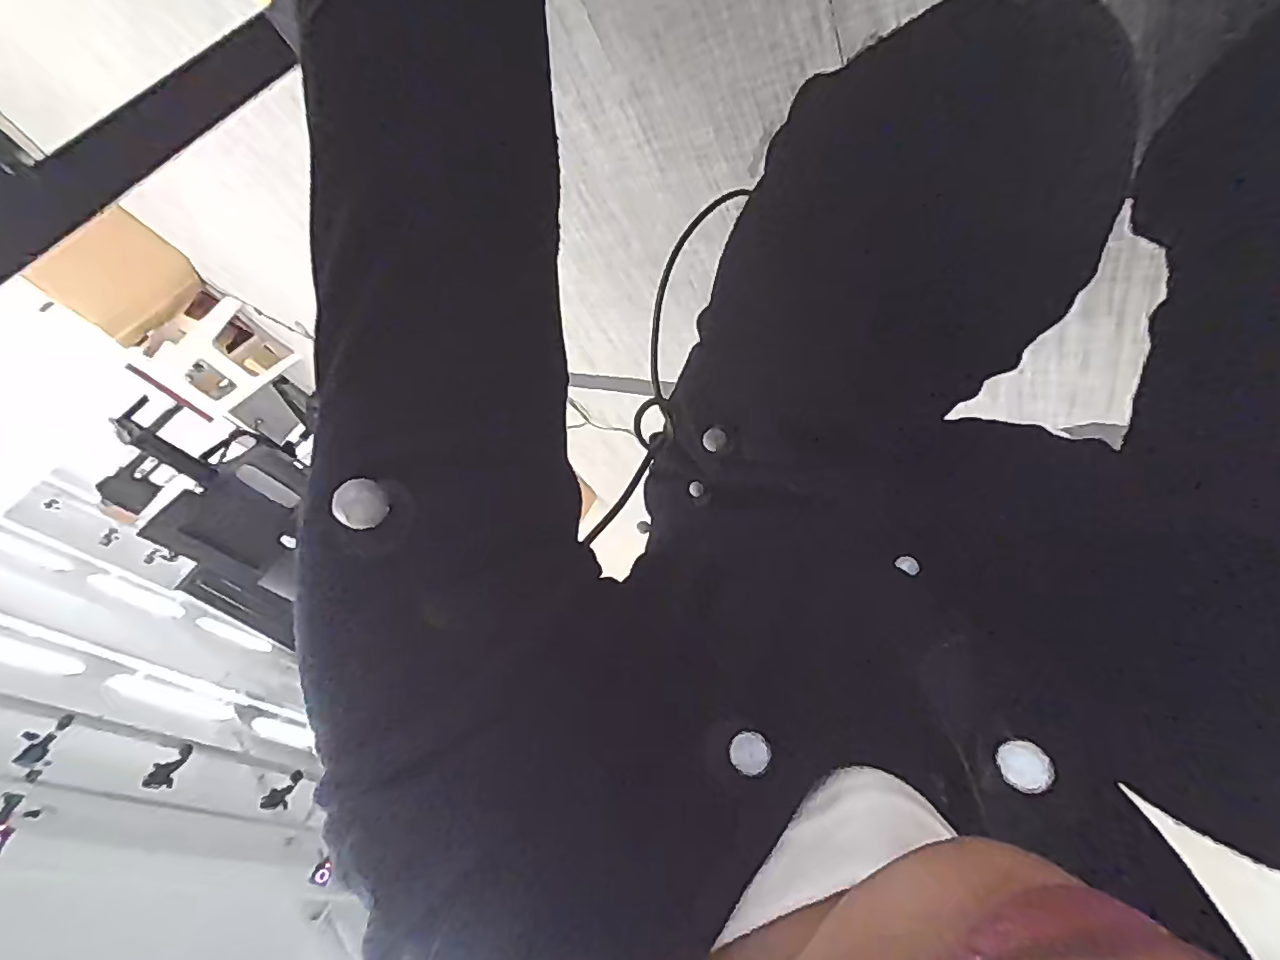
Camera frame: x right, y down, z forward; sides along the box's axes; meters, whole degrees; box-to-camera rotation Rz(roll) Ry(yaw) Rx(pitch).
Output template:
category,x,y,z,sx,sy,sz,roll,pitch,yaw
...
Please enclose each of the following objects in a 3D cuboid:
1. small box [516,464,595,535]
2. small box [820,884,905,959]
category,x,y,z,sx,sy,sz,roll,pitch,yaw
small box,-0.290,0.061,1.897,0.168,0.176,0.179,14,154,40
small box,0.662,1.336,1.603,0.179,0.176,0.168,15,153,39
